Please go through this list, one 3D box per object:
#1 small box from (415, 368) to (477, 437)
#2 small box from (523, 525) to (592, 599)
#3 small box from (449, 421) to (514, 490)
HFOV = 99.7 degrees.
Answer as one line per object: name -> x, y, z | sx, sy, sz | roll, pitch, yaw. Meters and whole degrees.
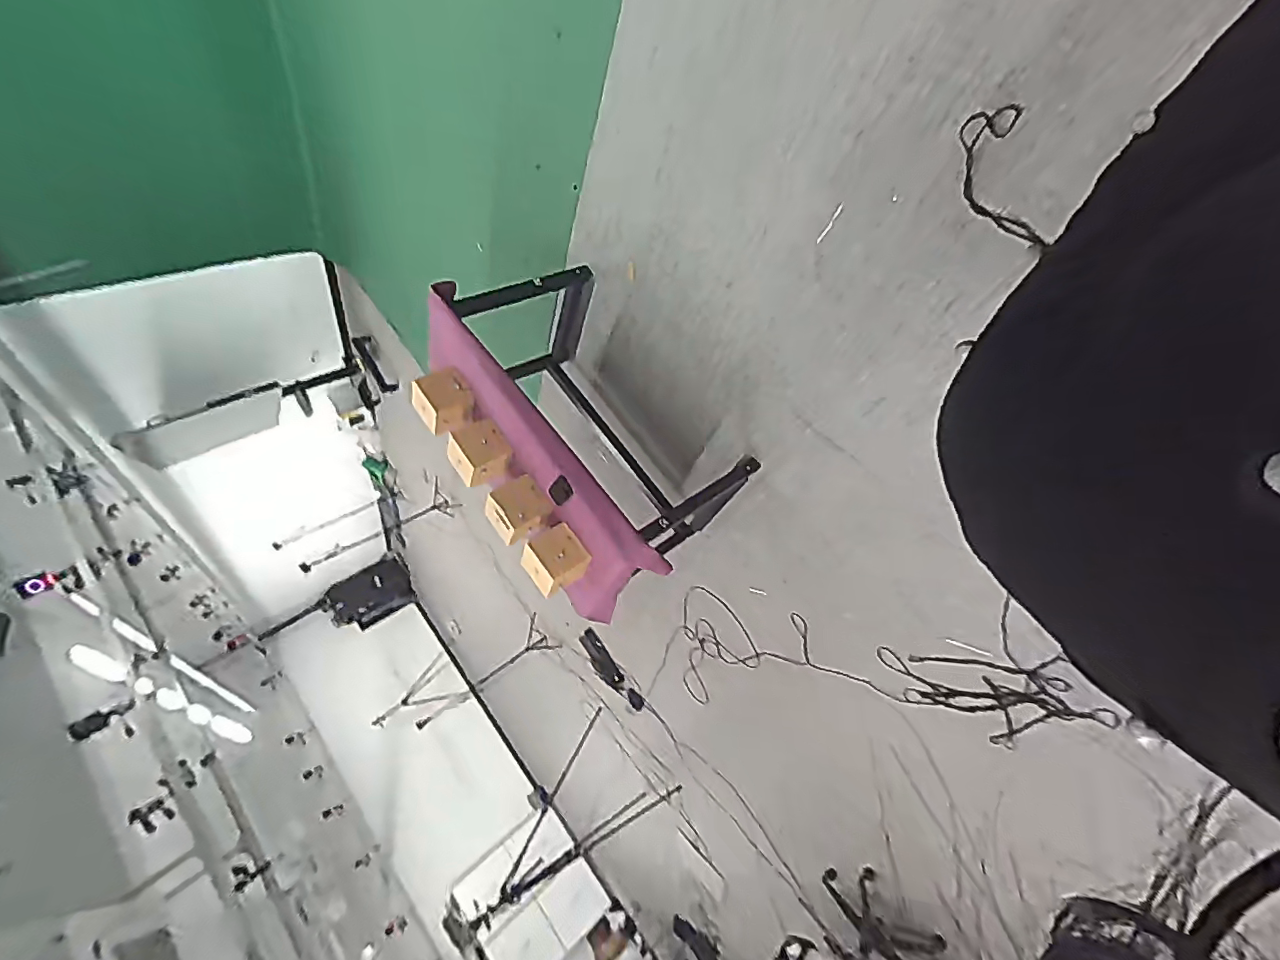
small box -> -0.747, -0.300, 2.087 | 0.168, 0.176, 0.179 | 53, 147, 9
small box -> -0.293, 0.288, 1.923 | 0.168, 0.176, 0.179 | 50, 147, 16
small box -> -0.594, -0.096, 2.035 | 0.168, 0.176, 0.179 | 54, 147, 11
